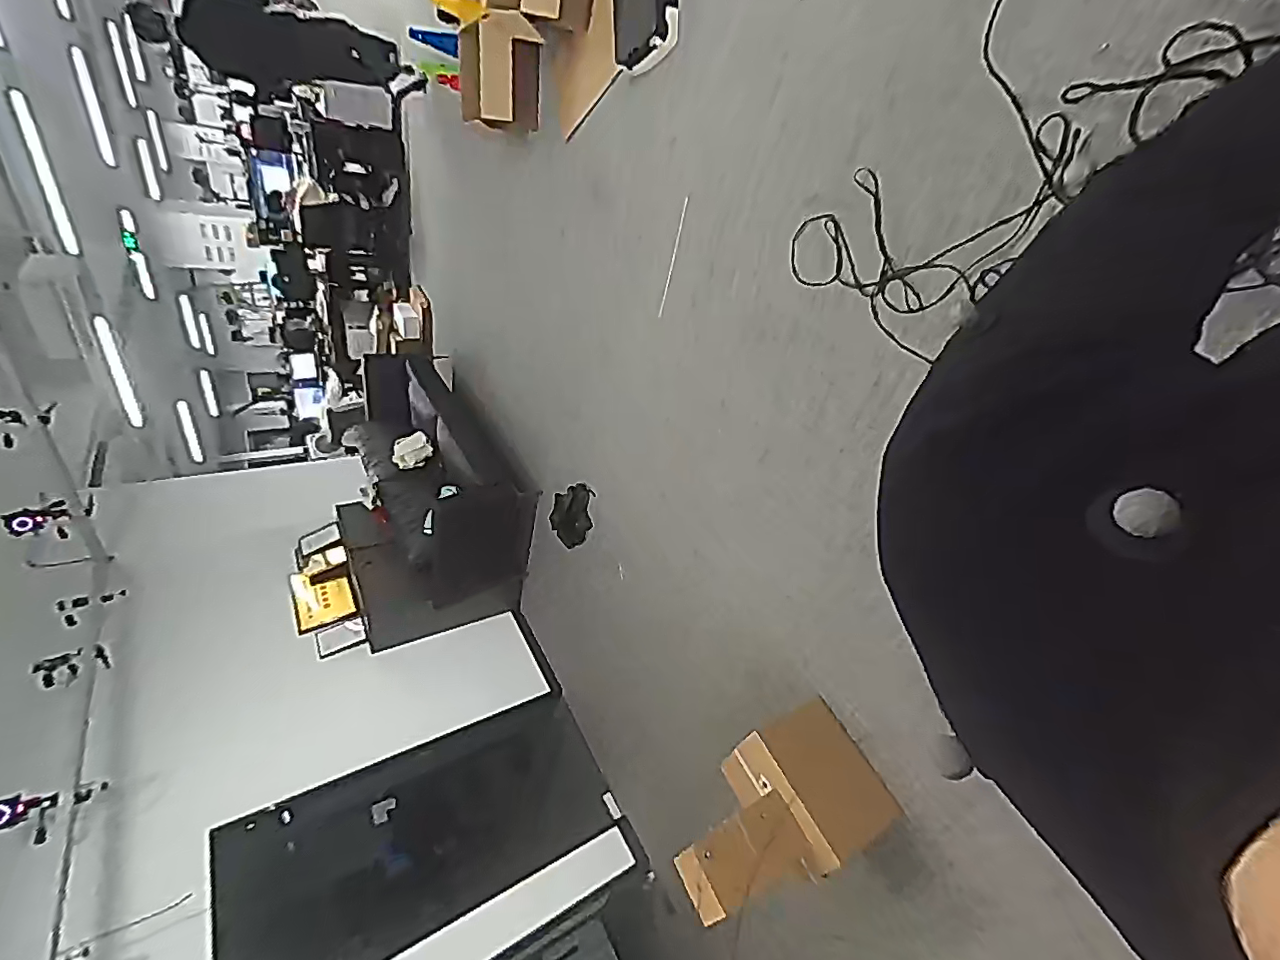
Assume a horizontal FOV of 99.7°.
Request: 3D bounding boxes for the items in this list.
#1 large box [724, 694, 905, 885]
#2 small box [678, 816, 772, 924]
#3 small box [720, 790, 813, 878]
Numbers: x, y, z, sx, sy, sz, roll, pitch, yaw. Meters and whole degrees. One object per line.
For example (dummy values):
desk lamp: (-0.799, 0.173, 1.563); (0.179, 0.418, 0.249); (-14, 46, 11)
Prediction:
large box: (0.555, 0.996, 1.768); (0.408, 0.320, 0.320); (55, 140, 34)
small box: (0.240, 1.101, 1.532); (0.179, 0.176, 0.168); (55, 142, 33)
small box: (0.376, 1.059, 1.612); (0.179, 0.176, 0.168); (54, 141, 32)
